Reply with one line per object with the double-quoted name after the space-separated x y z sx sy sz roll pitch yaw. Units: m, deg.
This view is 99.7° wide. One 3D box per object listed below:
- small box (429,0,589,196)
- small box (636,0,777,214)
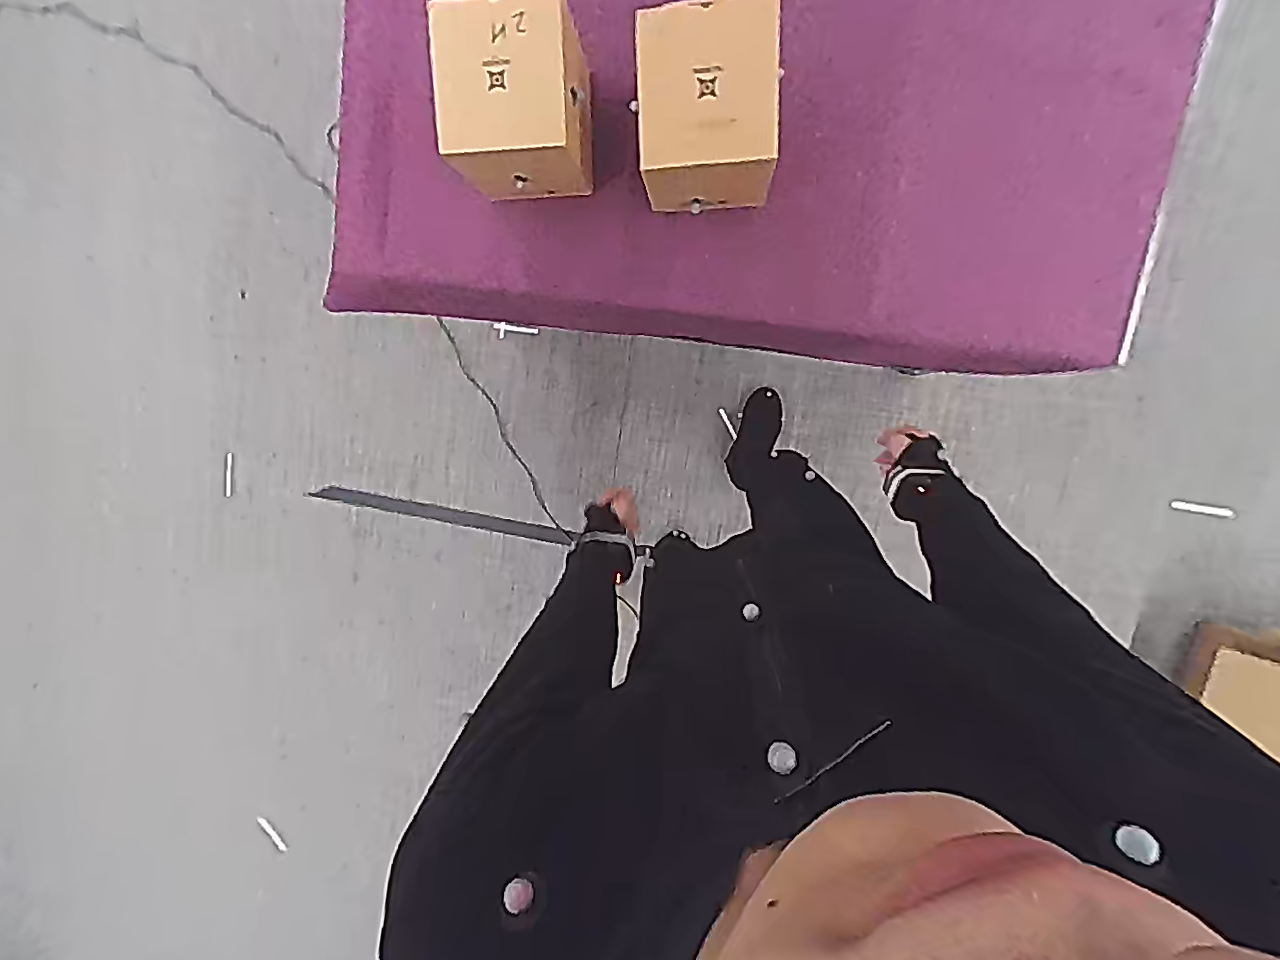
-0.165 -0.503 0.734 0.168 0.176 0.179 0 98 6 "small box"
0.085 -0.474 0.712 0.168 0.176 0.179 -1 98 7 "small box"
